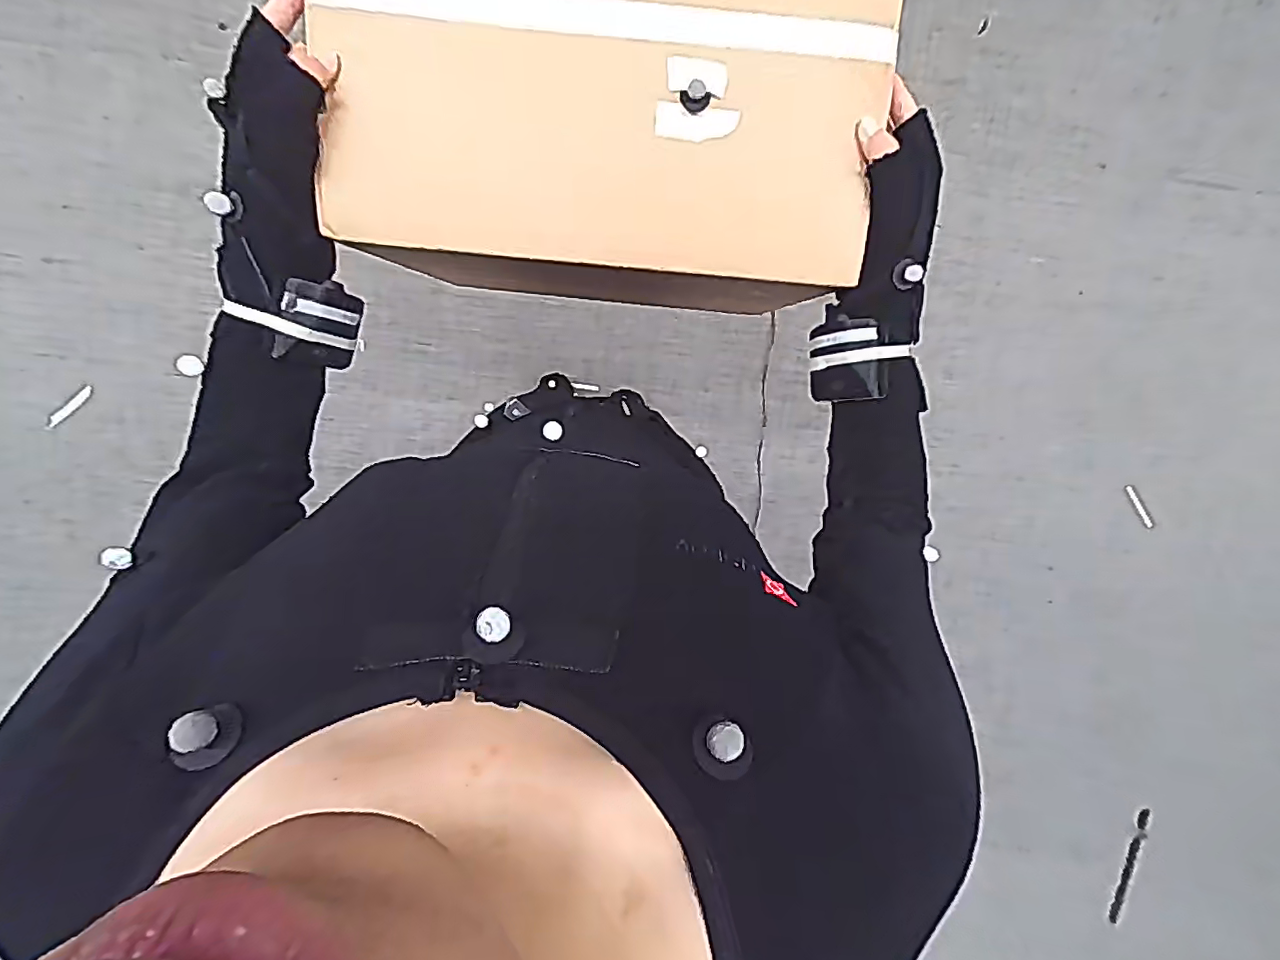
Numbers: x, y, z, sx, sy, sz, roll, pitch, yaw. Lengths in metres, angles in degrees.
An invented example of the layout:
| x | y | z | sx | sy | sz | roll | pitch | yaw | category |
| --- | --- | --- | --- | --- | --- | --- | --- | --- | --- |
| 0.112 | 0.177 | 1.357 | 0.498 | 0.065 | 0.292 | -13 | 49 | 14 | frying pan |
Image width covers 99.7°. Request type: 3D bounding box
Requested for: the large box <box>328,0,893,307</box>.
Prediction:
| x | y | z | sx | sy | sz | roll | pitch | yaw | category |
| --- | --- | --- | --- | --- | --- | --- | --- | --- | --- |
| -0.025 | -0.356 | 0.529 | 0.408 | 0.320 | 0.320 | 4 | 103 | -2 | large box |
